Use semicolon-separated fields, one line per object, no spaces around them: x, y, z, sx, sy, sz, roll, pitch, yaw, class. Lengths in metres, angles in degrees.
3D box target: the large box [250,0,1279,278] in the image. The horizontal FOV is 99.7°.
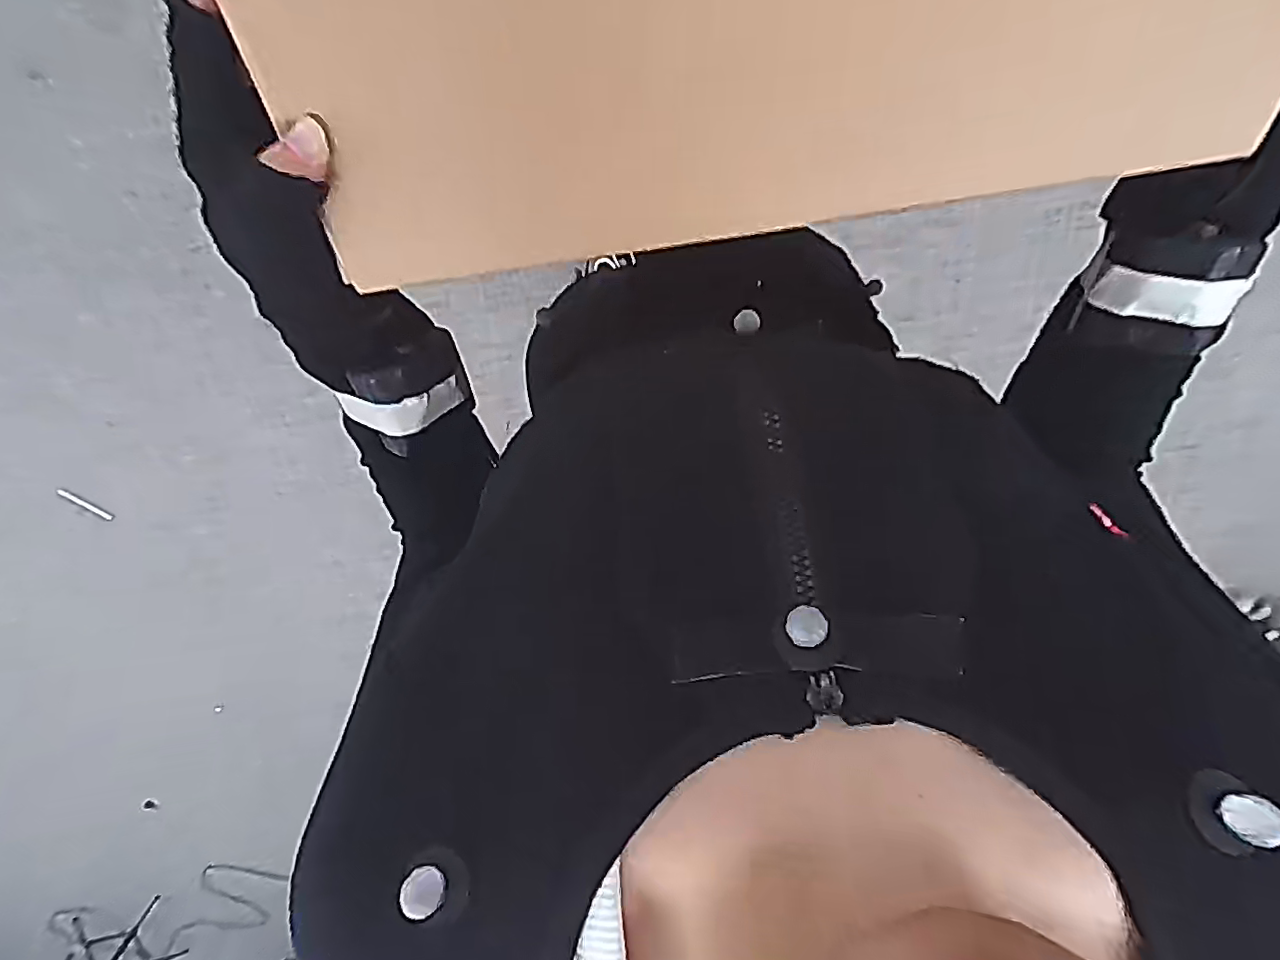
0.035;-0.335;0.283;0.408;0.320;0.320;-7;128;4;large box
